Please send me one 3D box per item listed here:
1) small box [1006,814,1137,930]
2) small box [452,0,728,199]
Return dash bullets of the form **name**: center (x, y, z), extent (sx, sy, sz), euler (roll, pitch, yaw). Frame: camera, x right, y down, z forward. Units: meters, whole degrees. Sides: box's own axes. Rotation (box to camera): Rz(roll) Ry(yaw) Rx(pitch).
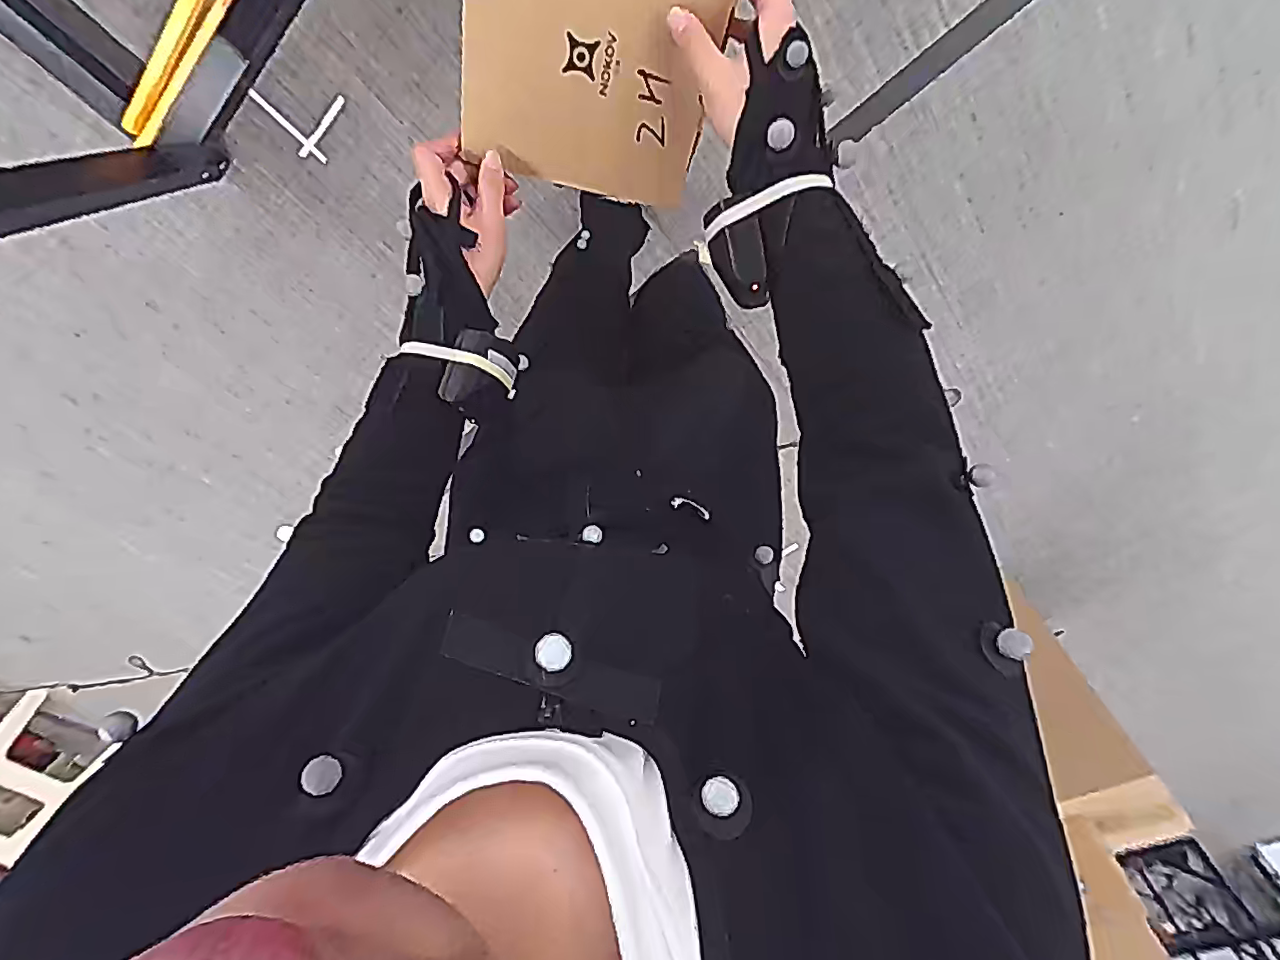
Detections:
- **small box**: center (1.022, 0.941, 1.300), extent (0.179, 0.176, 0.168), euler (-36, 120, 21)
- **small box**: center (-0.043, -0.354, 0.425), extent (0.179, 0.176, 0.168), euler (6, 136, -14)
